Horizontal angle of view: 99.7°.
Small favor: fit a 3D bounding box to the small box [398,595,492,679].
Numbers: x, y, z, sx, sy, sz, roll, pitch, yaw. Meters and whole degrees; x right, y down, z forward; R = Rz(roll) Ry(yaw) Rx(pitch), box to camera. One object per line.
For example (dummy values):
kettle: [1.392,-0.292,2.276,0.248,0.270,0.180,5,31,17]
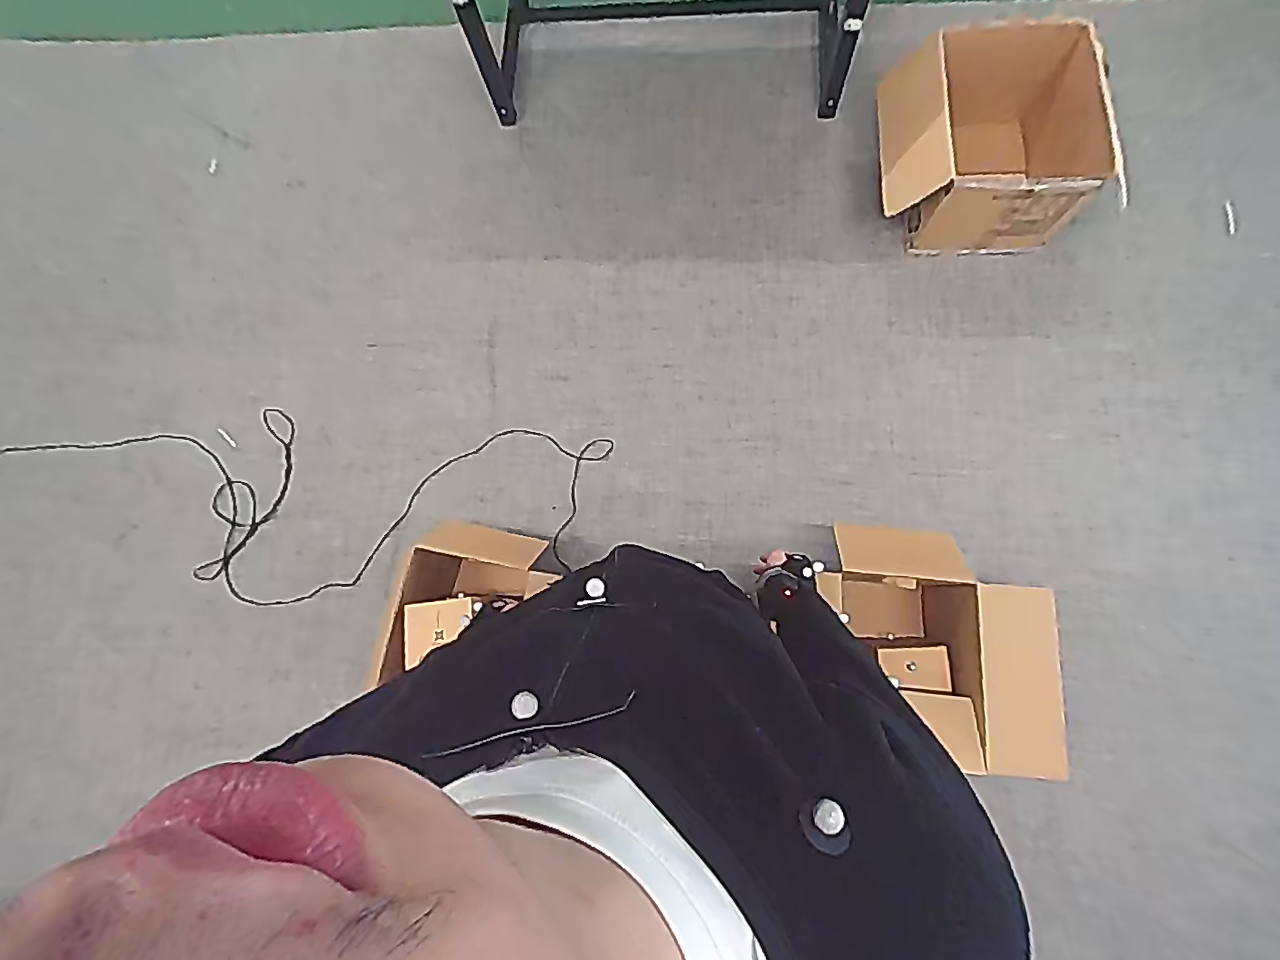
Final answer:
small box: [-0.463,0.374,1.306,0.168,0.176,0.179,-4,79,3]
